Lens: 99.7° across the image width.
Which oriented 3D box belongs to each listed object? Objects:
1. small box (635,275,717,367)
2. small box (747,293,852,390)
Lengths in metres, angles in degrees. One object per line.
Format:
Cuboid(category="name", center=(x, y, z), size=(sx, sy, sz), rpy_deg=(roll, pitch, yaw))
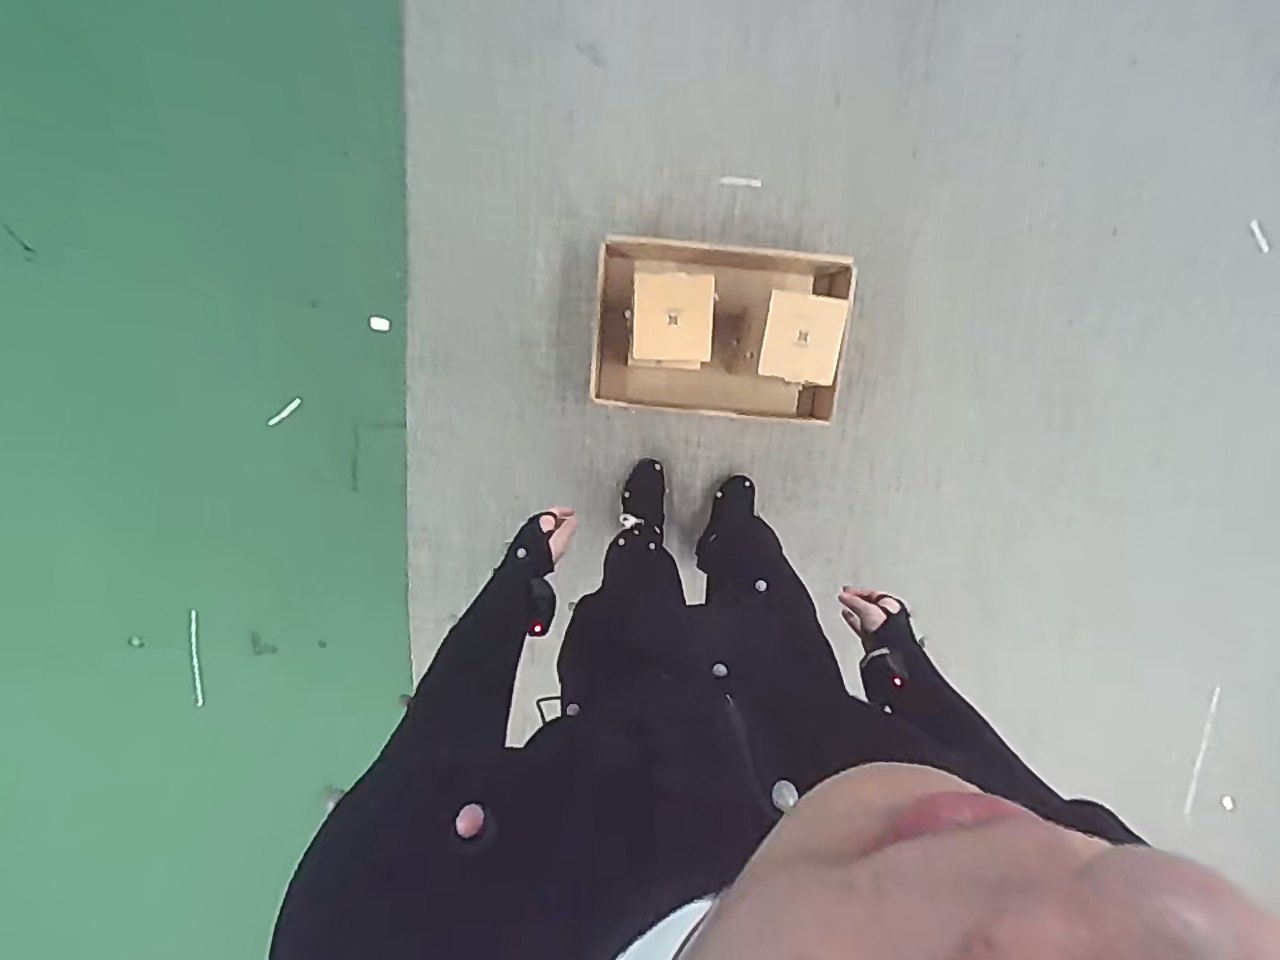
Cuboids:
Cuboid(category="small box", center=(0.074, -0.345, 1.199), size=(0.168, 0.176, 0.179), rpy_deg=(2, 99, -1))
Cuboid(category="small box", center=(0.345, -0.301, 1.205), size=(0.168, 0.176, 0.179), rpy_deg=(9, 99, -2))
